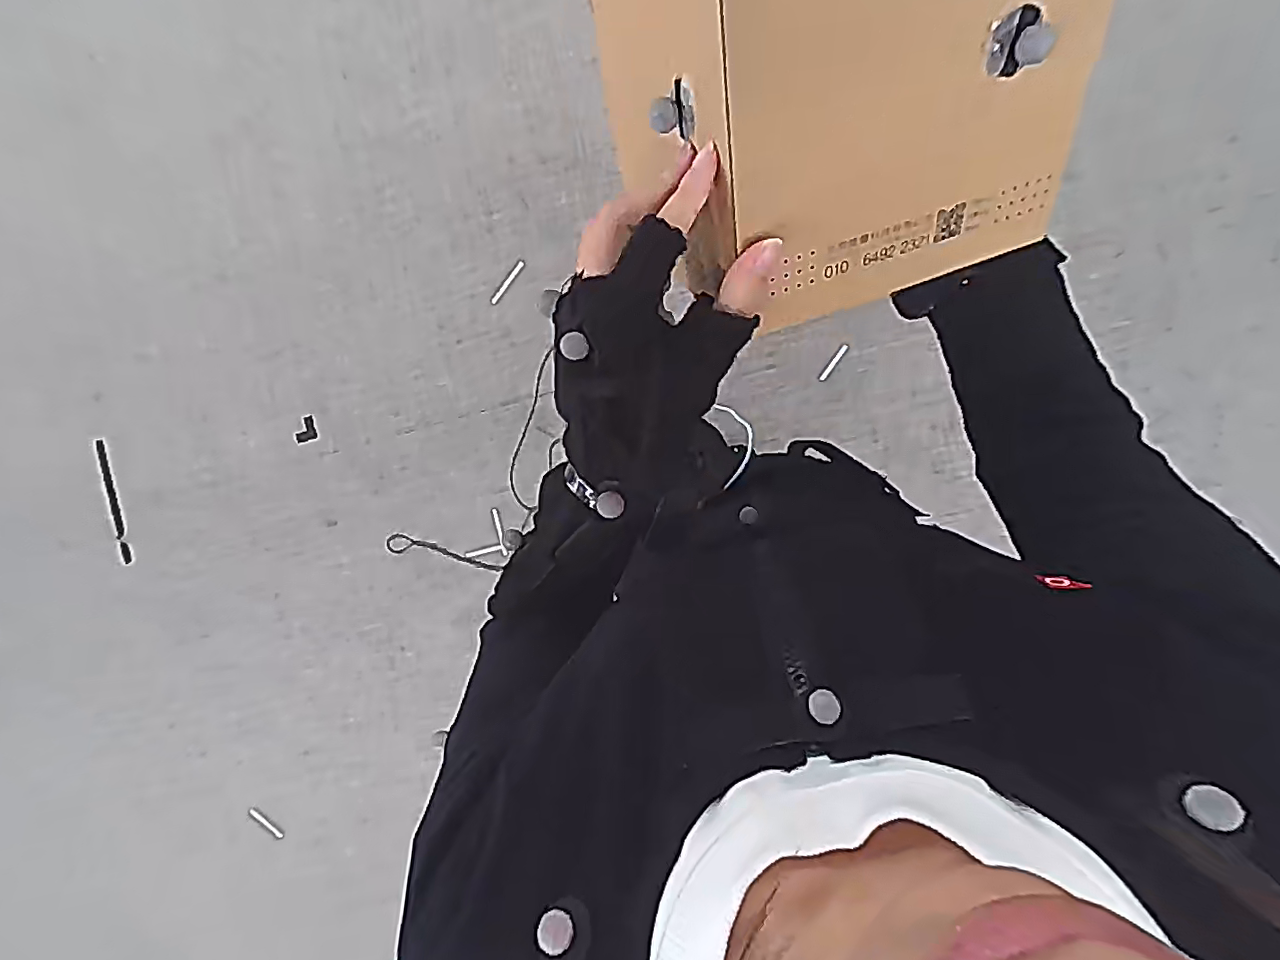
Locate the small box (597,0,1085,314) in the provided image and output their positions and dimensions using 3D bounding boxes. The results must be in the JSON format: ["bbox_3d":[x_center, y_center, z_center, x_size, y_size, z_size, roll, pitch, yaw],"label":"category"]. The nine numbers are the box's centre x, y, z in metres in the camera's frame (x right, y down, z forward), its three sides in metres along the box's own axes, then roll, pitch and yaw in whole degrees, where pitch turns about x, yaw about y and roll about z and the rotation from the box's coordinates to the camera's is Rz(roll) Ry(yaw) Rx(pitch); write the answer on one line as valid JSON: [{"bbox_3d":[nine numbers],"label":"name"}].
[{"bbox_3d":[0.085,-0.203,0.274,0.168,0.179,0.176,-19,133,-6],"label":"small box"}]
